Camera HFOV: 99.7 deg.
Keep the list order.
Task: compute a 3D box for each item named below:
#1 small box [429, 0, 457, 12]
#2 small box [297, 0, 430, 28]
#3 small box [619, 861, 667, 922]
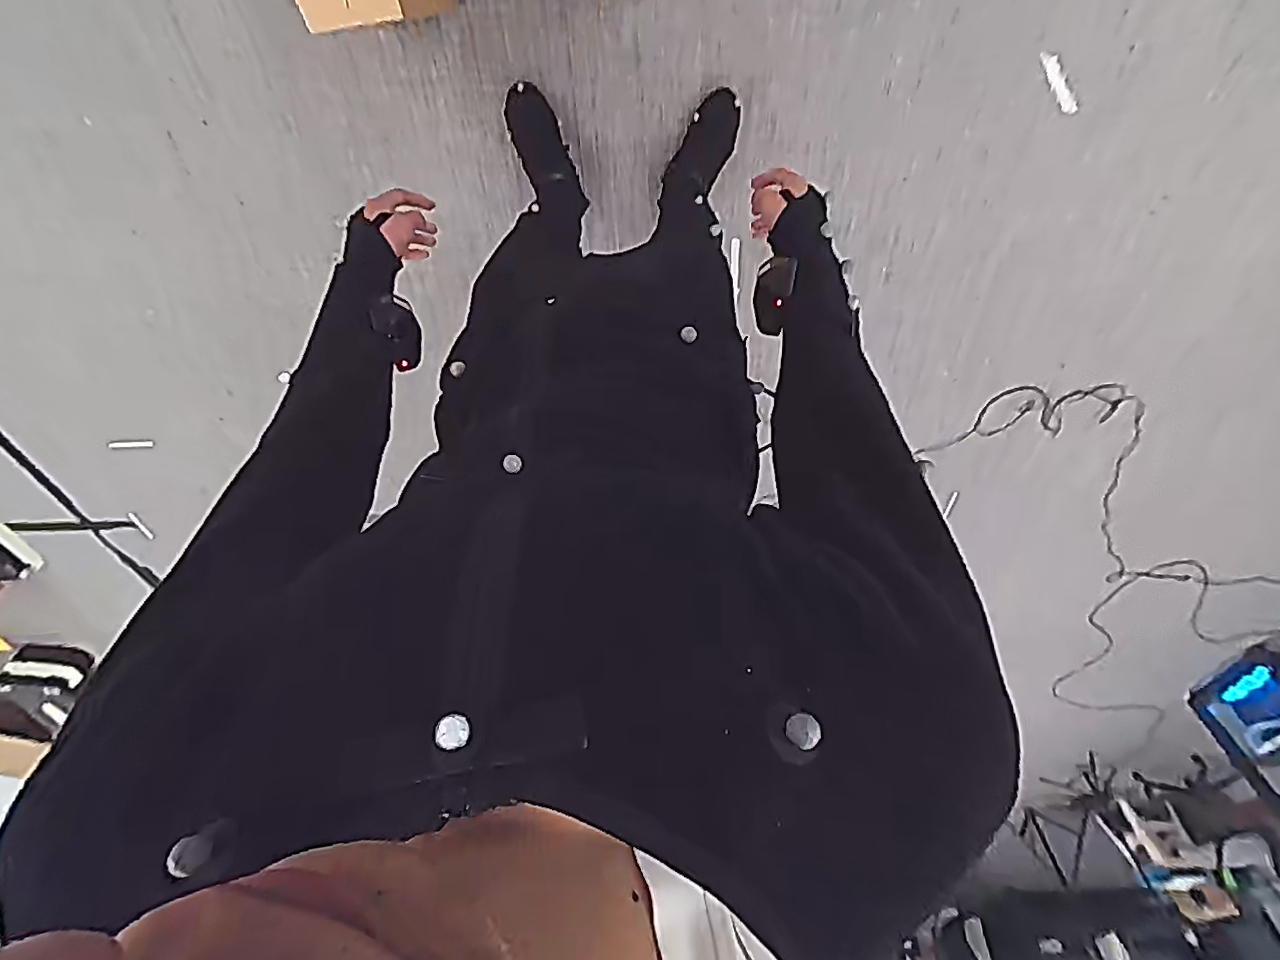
[{"bbox_3d":[-0.460,-0.973,0.995,0.168,0.176,0.179,-6,132,6],"label":"small box"},{"bbox_3d":[-0.467,-0.859,0.877,0.168,0.176,0.179,-4,132,5],"label":"small box"},{"bbox_3d":[0.010,1.607,2.112,0.179,0.176,0.168,-3,132,3],"label":"small box"}]
